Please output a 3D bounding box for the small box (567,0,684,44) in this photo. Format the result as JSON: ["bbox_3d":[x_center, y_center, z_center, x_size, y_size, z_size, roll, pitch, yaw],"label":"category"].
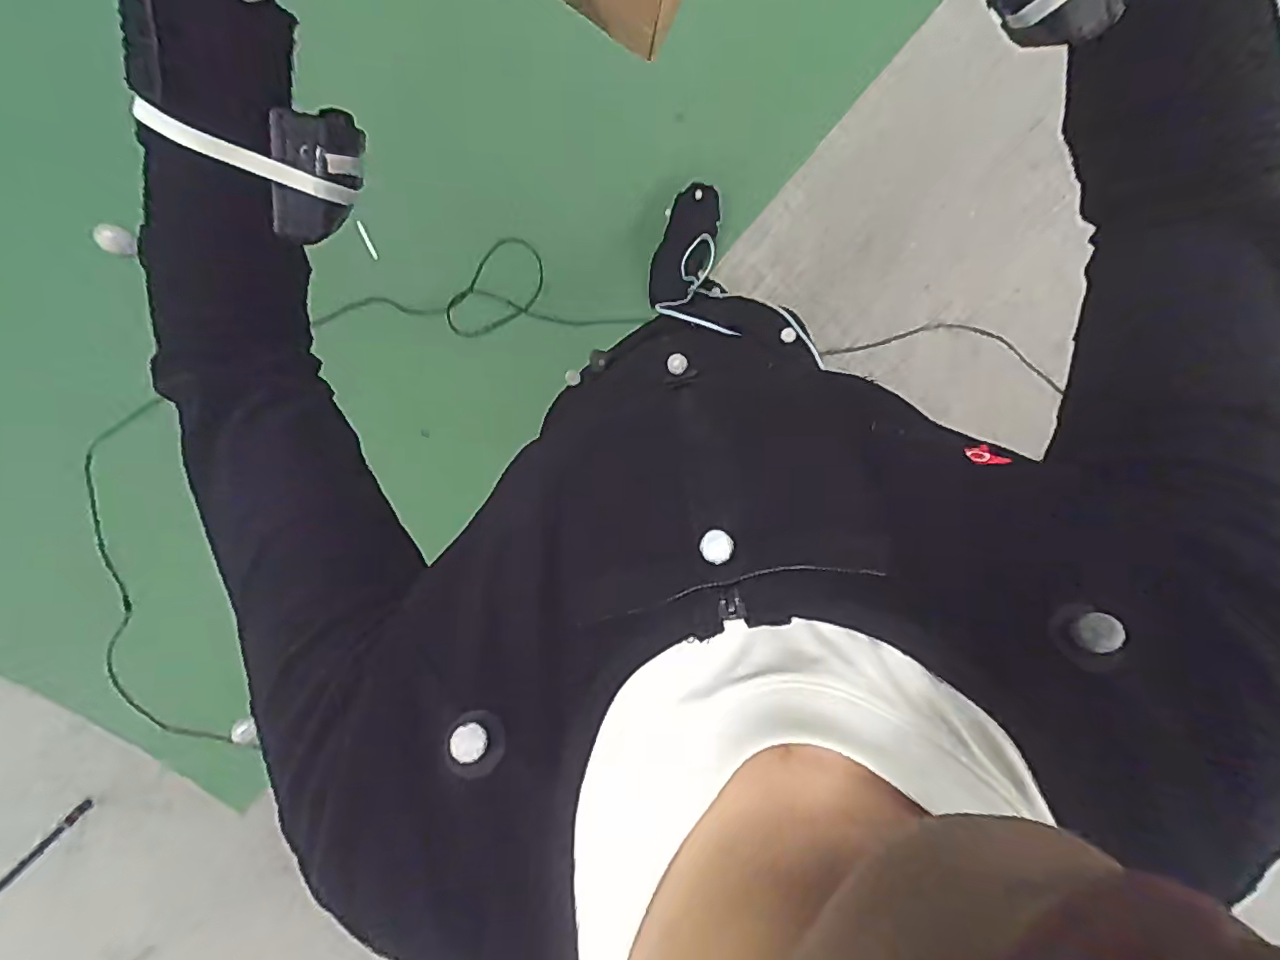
[{"bbox_3d":[-0.019,-0.368,0.258,0.179,0.176,0.168,29,104,-13],"label":"small box"}]
